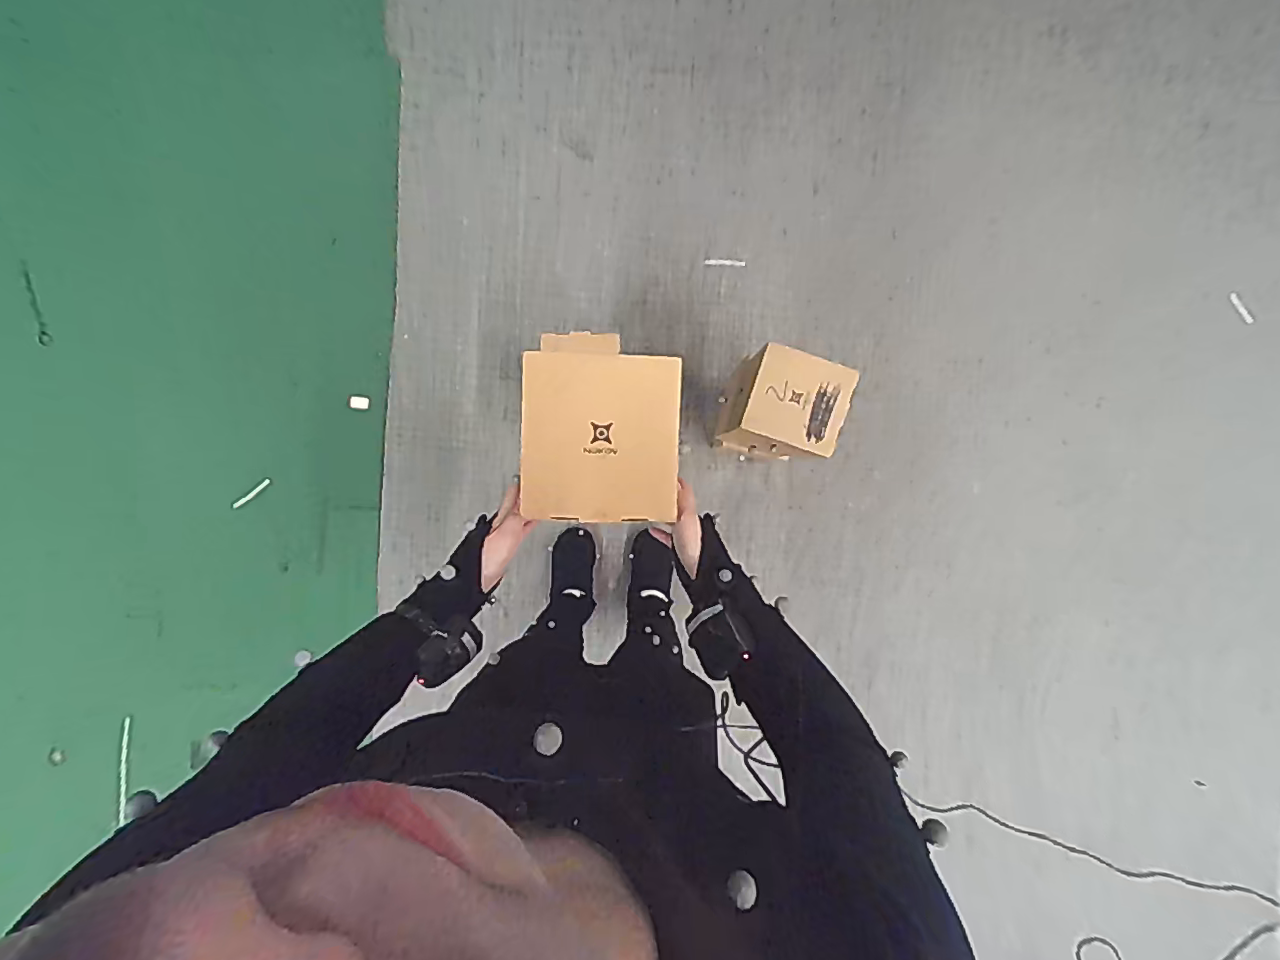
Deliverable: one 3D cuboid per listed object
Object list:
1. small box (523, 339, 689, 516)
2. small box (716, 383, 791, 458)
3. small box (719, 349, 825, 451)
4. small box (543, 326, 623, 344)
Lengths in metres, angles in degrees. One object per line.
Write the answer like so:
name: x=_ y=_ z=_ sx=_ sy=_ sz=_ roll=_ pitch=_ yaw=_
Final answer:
small box: x=-0.041 y=-0.056 z=0.626 sx=0.168 sy=0.176 sz=0.179 roll=1 pitch=95 yaw=-5
small box: x=0.295 y=-0.157 z=1.357 sx=0.168 sy=0.176 sz=0.179 roll=13 pitch=91 yaw=-1
small box: x=0.280 y=-0.167 z=1.194 sx=0.168 sy=0.176 sz=0.179 roll=17 pitch=91 yaw=-1
small box: x=-0.118 y=-0.227 z=1.186 sx=0.168 sy=0.176 sz=0.179 roll=-1 pitch=91 yaw=0
